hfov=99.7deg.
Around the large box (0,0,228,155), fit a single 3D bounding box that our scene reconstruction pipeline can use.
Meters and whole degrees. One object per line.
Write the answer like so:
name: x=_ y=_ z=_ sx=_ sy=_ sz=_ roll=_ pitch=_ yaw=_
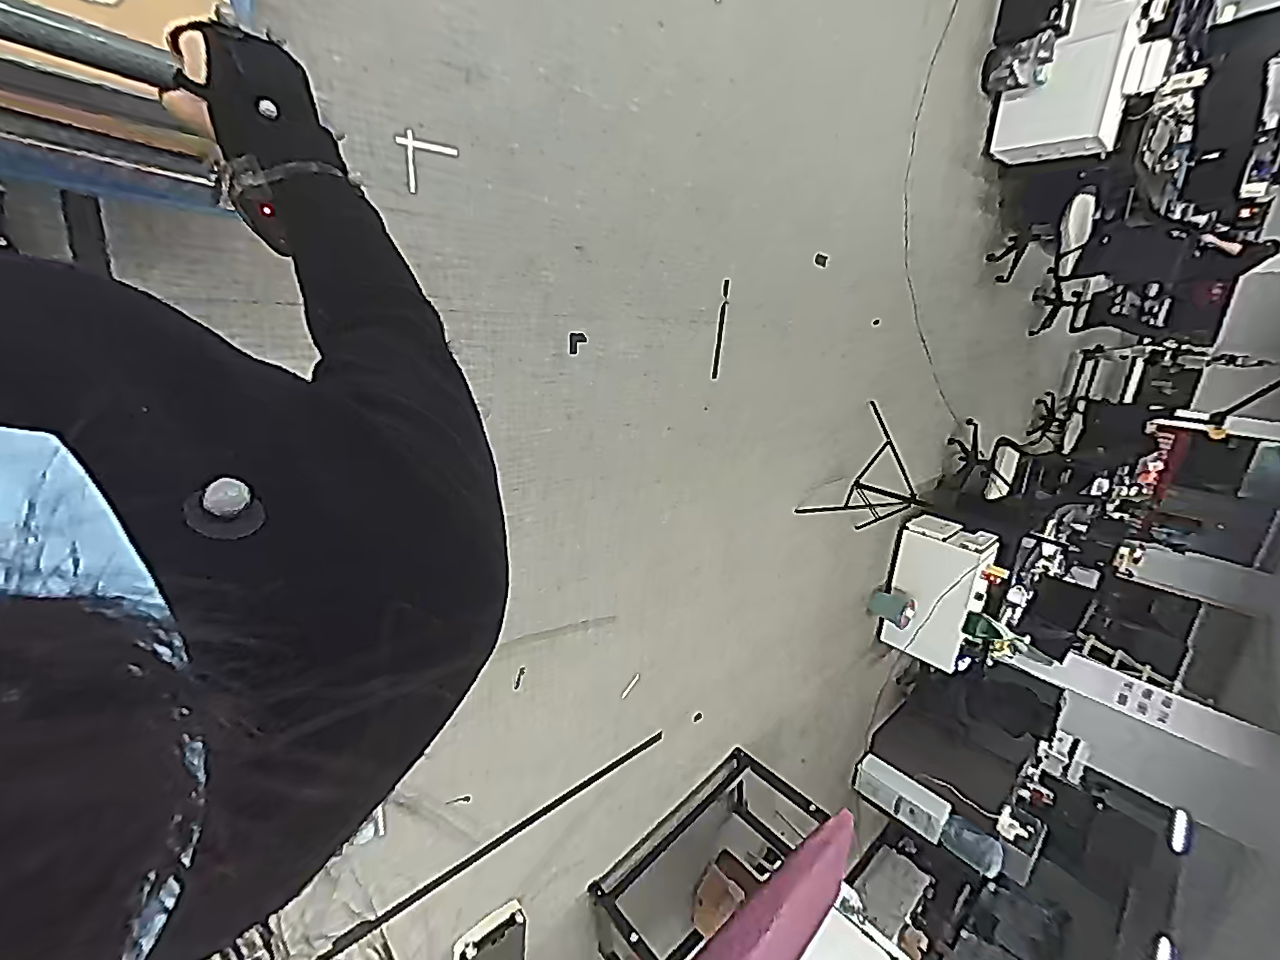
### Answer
large box: x=-0.793 y=-0.649 z=0.666 sx=0.408 sy=0.320 sz=0.320 roll=-7 pitch=111 yaw=-44
